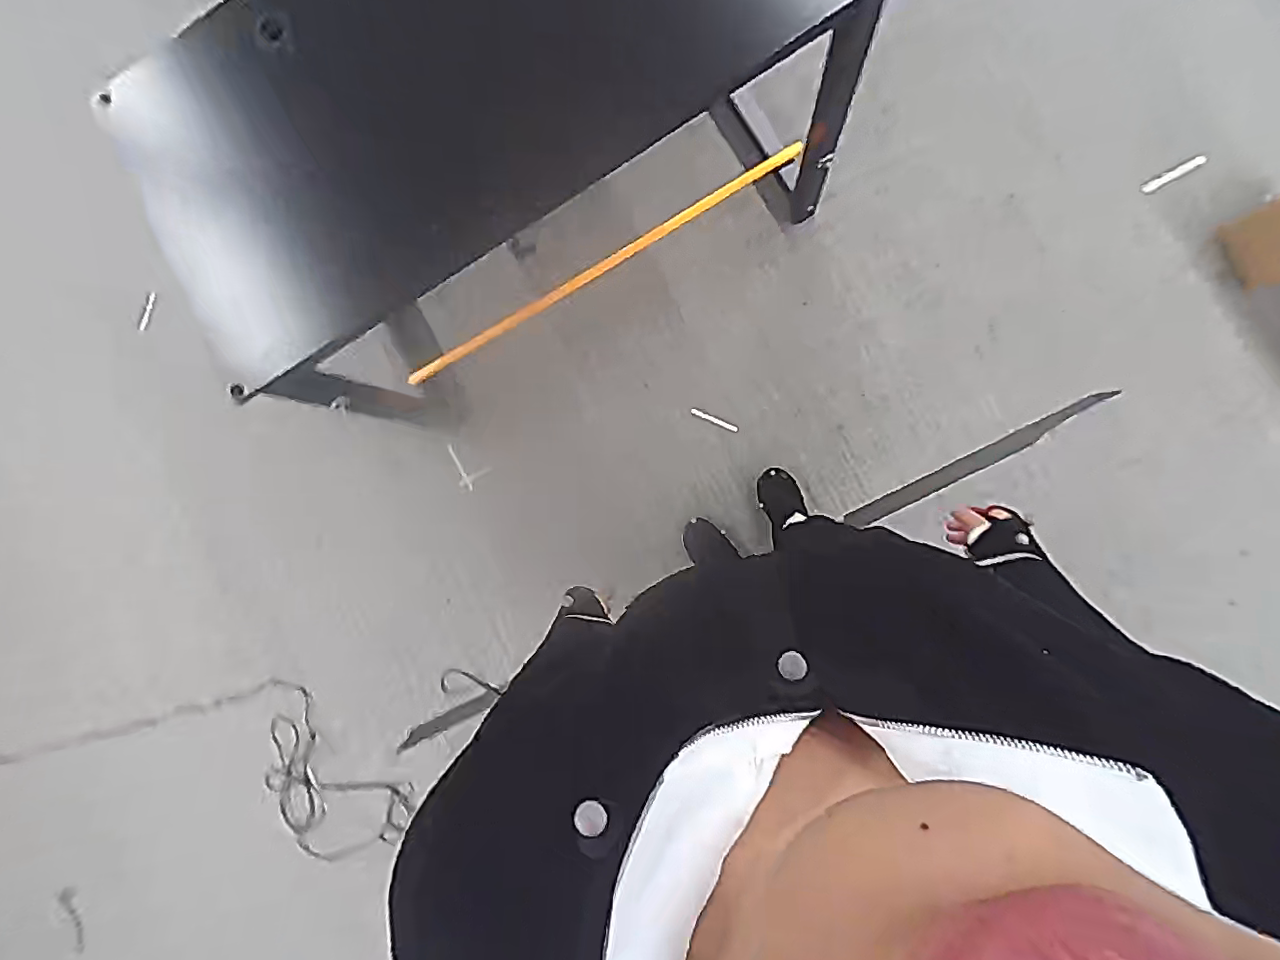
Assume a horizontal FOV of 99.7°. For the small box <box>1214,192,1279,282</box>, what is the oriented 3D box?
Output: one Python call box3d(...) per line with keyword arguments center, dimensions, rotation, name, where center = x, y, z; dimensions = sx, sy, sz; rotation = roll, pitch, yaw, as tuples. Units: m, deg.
box3d(center=(1.489, -0.573, 1.220), dimensions=(0.168, 0.176, 0.179), rotation=(-28, 86, 7), name="small box")
